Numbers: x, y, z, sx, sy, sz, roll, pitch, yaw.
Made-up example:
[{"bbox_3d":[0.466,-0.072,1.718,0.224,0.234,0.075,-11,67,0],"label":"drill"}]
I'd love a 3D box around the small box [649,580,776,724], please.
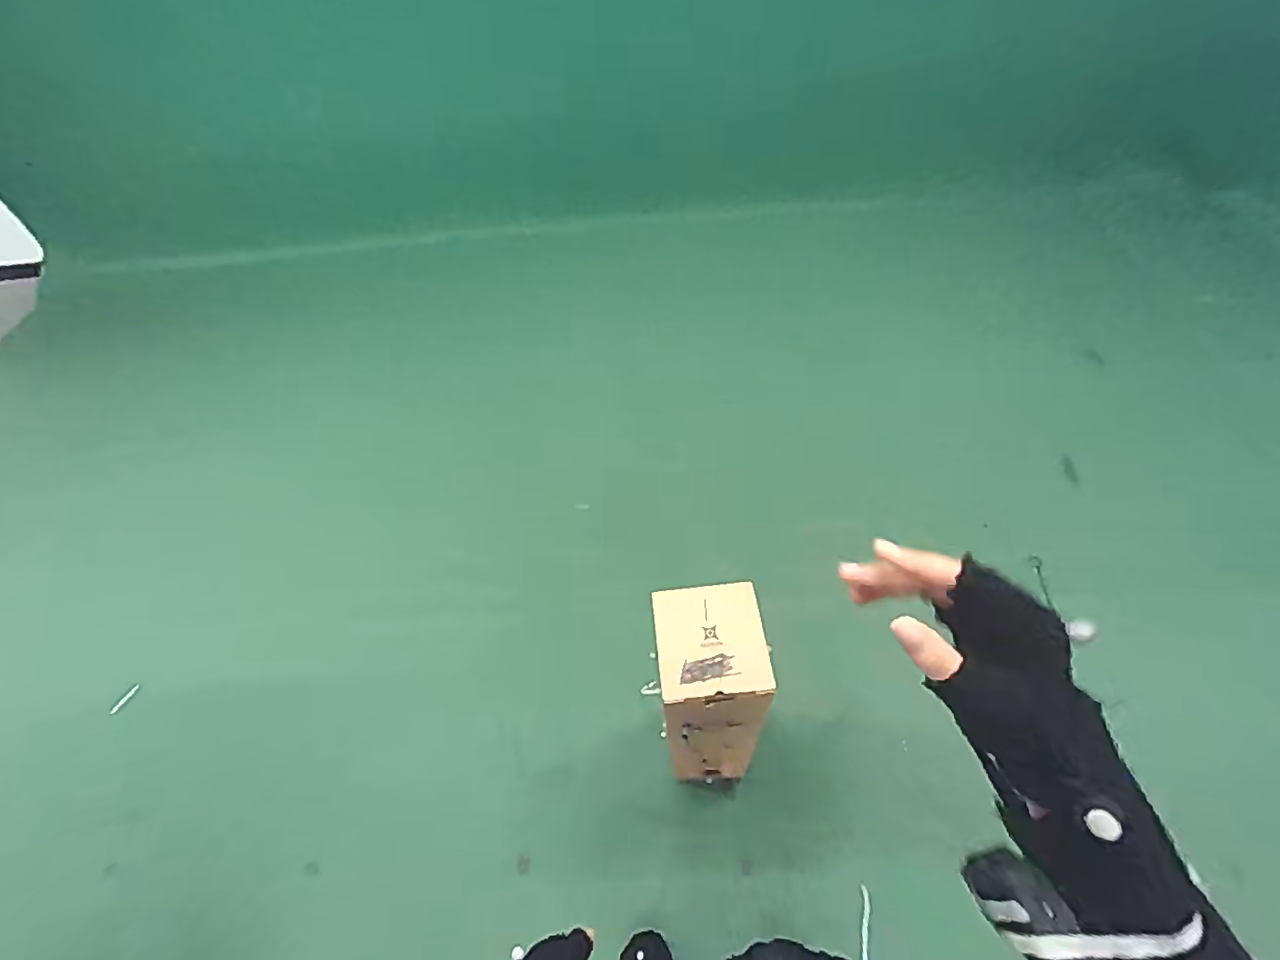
[{"bbox_3d":[0.112,0.288,0.884,0.168,0.176,0.179,-9,54,-2],"label":"small box"}]

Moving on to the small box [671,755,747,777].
[{"bbox_3d":[0.152,0.585,1.273,0.168,0.176,0.179,-4,53,2],"label":"small box"}]

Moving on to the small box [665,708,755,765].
[{"bbox_3d":[0.138,0.487,1.144,0.168,0.176,0.179,-6,53,1],"label":"small box"}]
